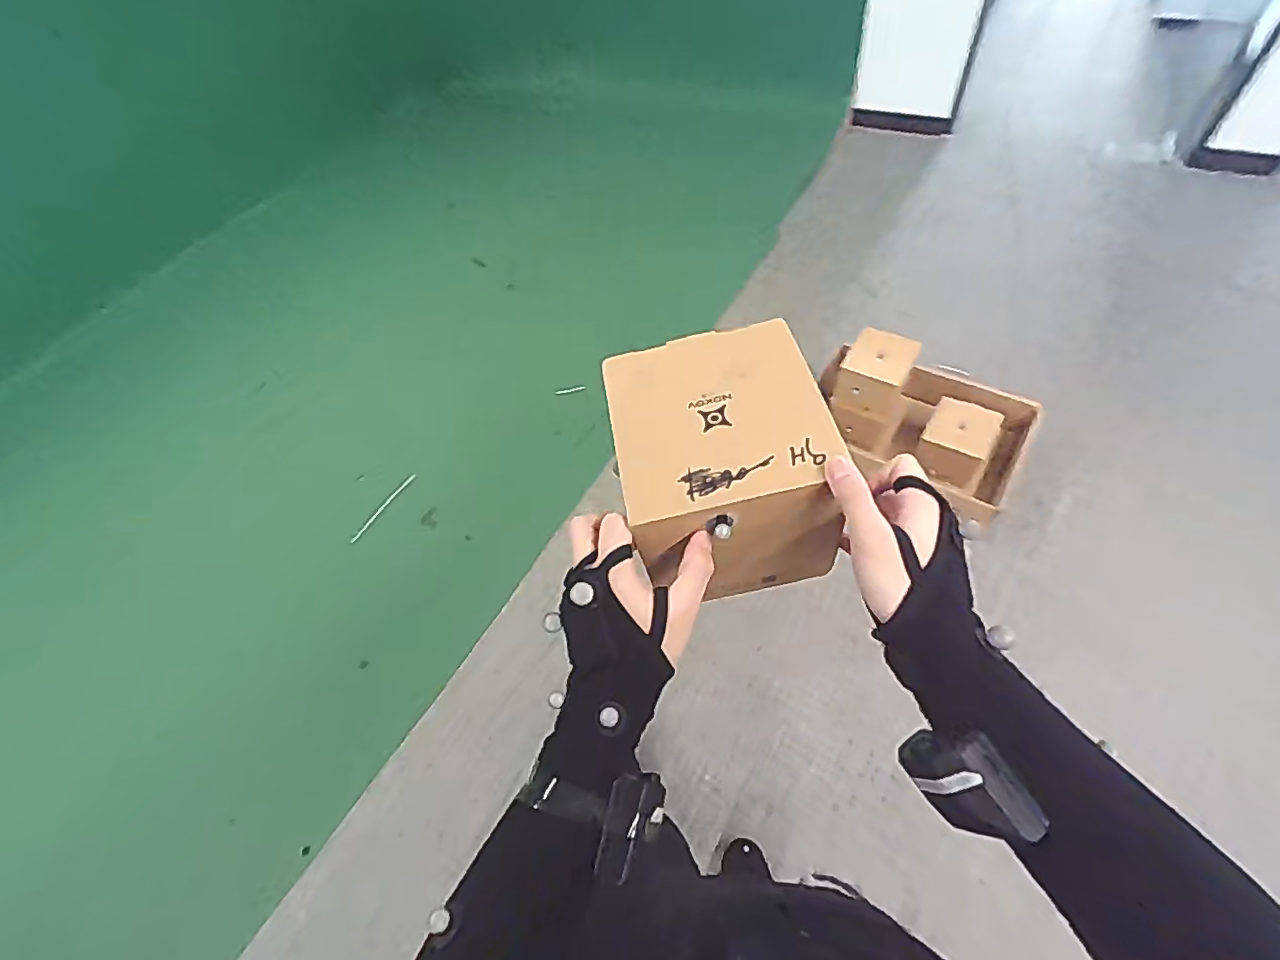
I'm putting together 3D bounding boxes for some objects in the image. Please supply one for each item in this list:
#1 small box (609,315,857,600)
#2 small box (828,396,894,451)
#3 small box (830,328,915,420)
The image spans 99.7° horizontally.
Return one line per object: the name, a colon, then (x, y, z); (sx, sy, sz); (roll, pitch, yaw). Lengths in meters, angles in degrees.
small box: (0.073, -0.015, 0.490); (0.168, 0.176, 0.179); (-12, 54, 4)
small box: (0.692, -0.223, 1.721); (0.168, 0.176, 0.179); (27, 67, 23)
small box: (0.672, -0.305, 1.582); (0.168, 0.176, 0.179); (26, 66, 23)
